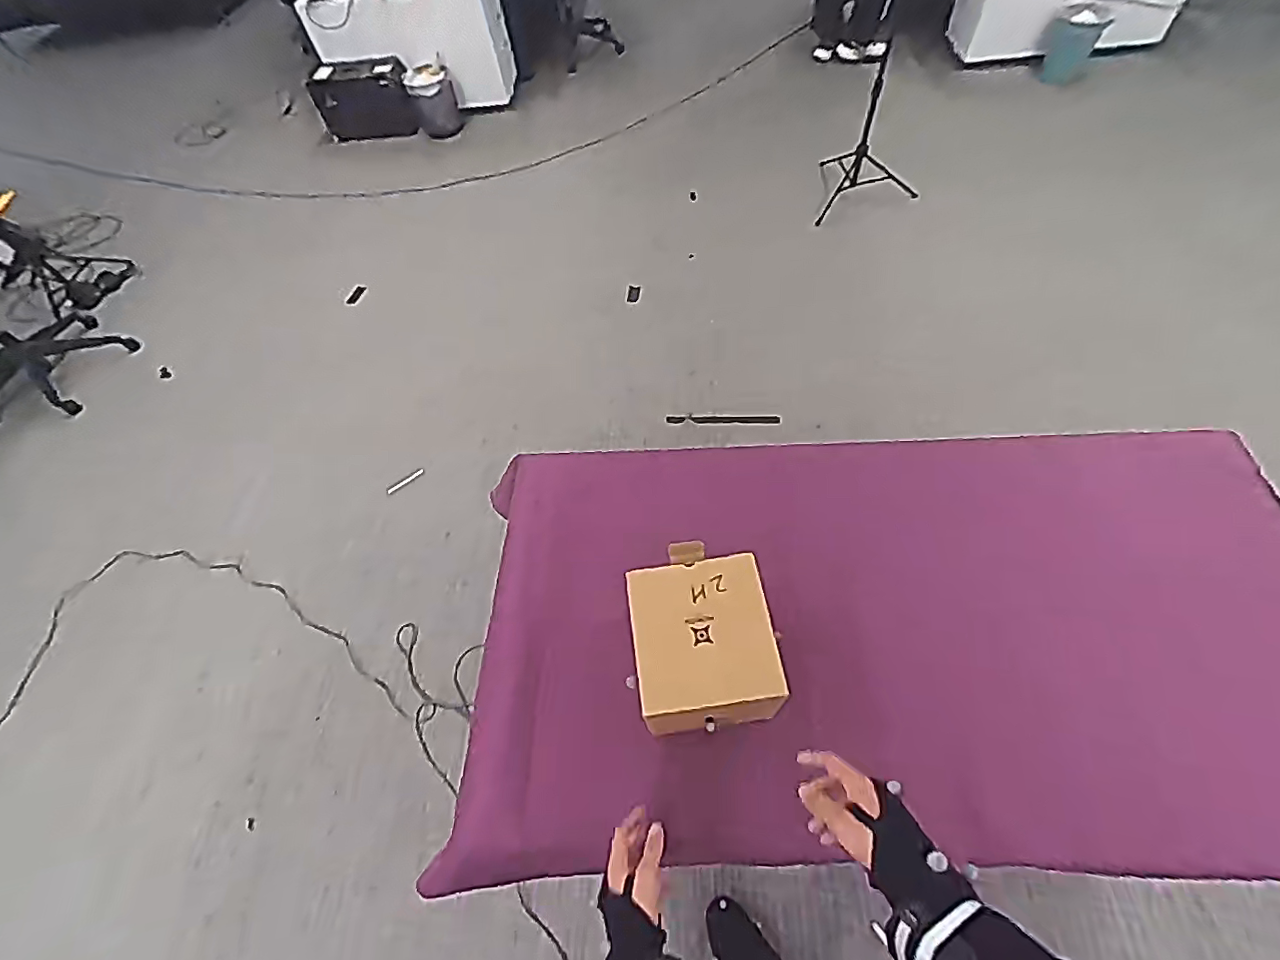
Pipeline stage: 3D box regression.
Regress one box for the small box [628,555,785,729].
[{"bbox_3d":[0.081,0.220,0.709,0.168,0.176,0.179,-8,57,0],"label":"small box"}]
